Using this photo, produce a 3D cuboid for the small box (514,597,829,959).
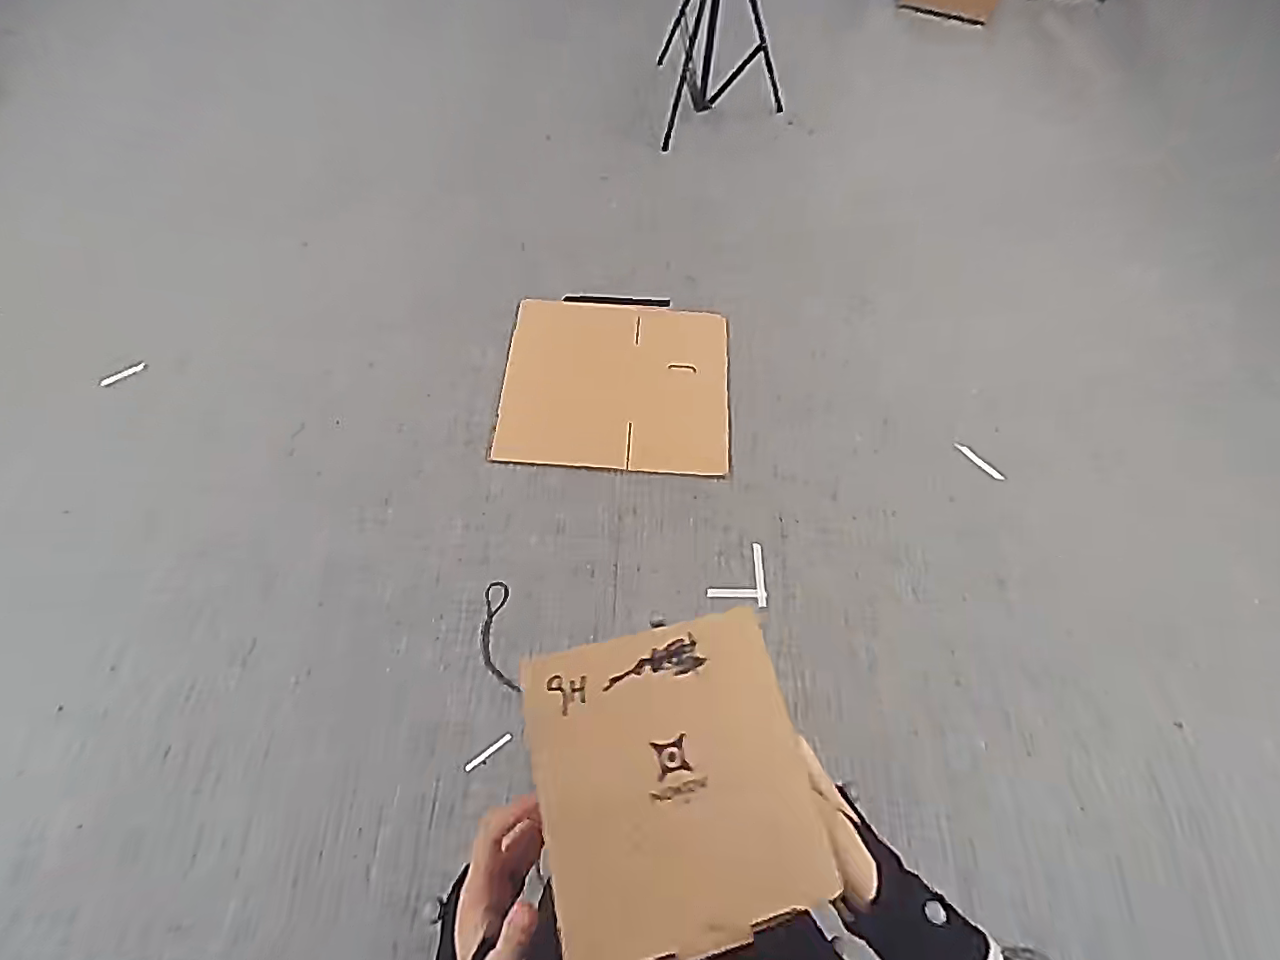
[{"bbox_3d":[0.006,0.203,0.407,0.168,0.176,0.179,-10,69,-13],"label":"small box"}]
